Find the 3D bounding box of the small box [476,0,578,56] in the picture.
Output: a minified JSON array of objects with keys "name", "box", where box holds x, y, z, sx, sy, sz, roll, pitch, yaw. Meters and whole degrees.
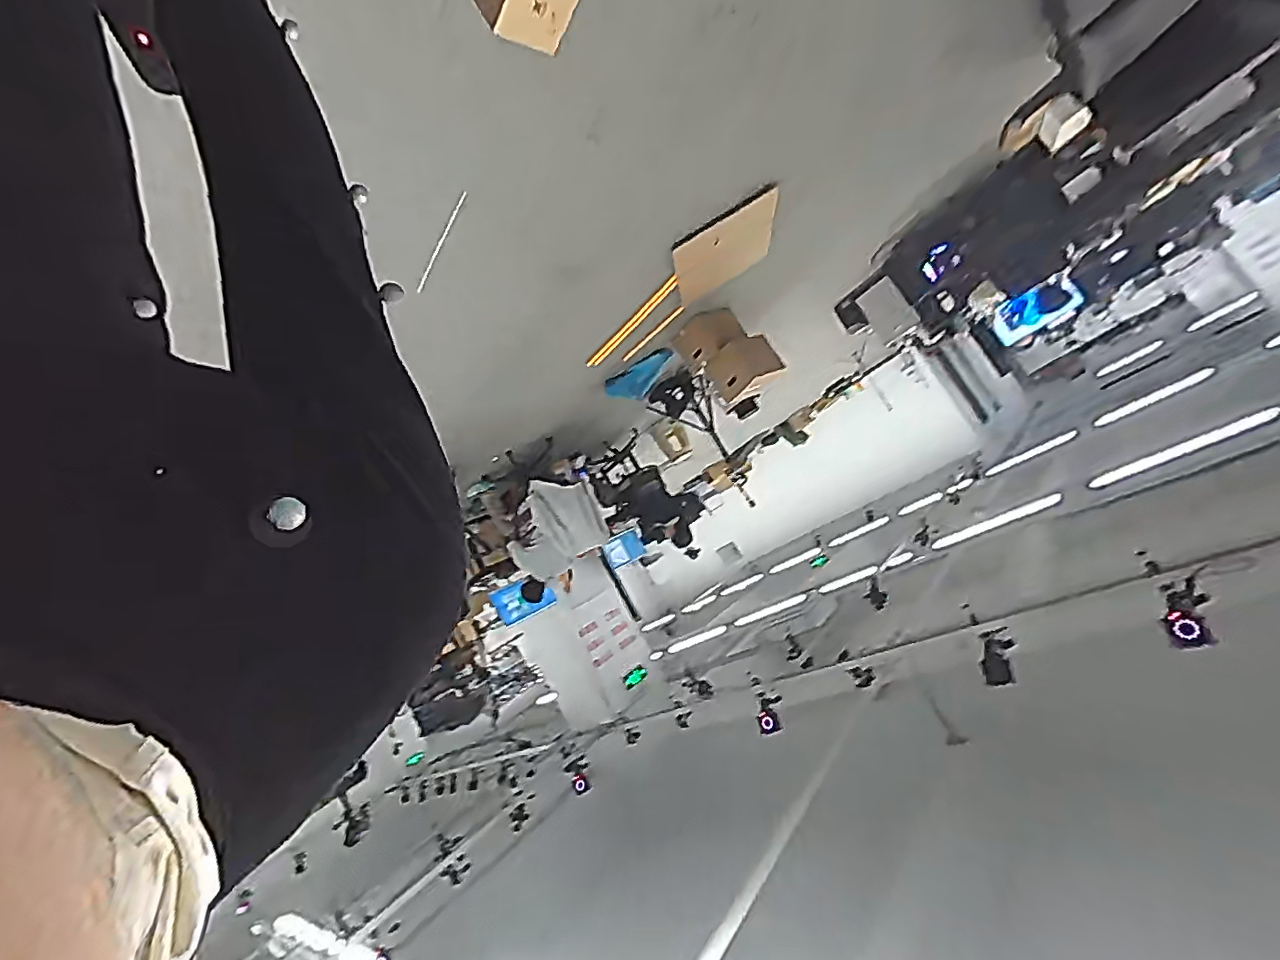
[{"name":"small box","box":[-0.264,-1.112,1.208,0.179,0.176,0.168,-21,169,-45]}]
